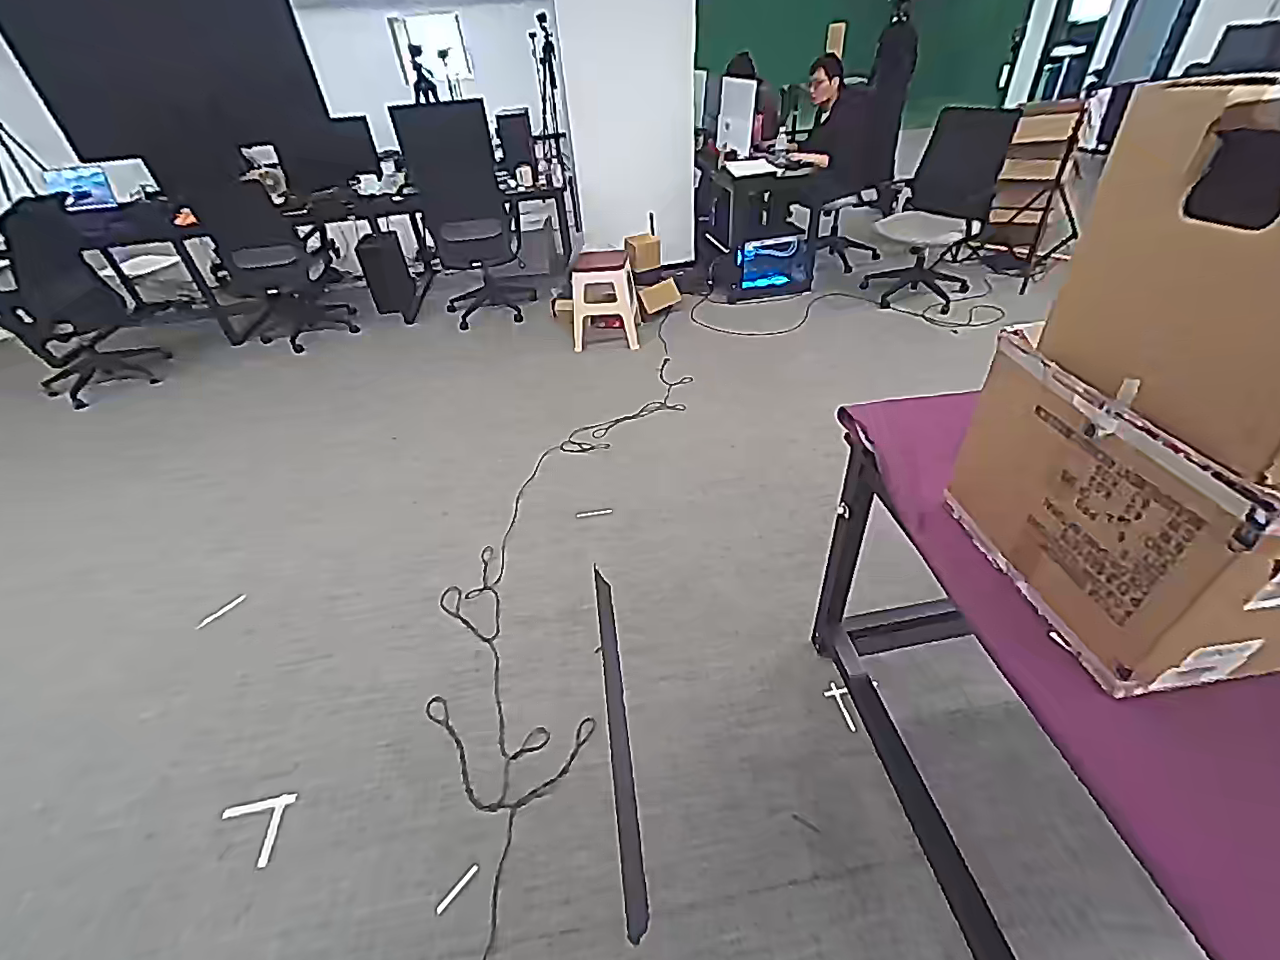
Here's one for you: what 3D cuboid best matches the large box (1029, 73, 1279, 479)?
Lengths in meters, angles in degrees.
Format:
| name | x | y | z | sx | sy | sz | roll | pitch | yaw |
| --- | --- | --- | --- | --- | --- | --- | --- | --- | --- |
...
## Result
| name | x | y | z | sx | sy | sz | roll | pitch | yaw |
| --- | --- | --- | --- | --- | --- | --- | --- | --- | --- |
| large box | 0.734 | -0.232 | 0.551 | 0.408 | 0.320 | 0.320 | -8 | 35 | -2 |
